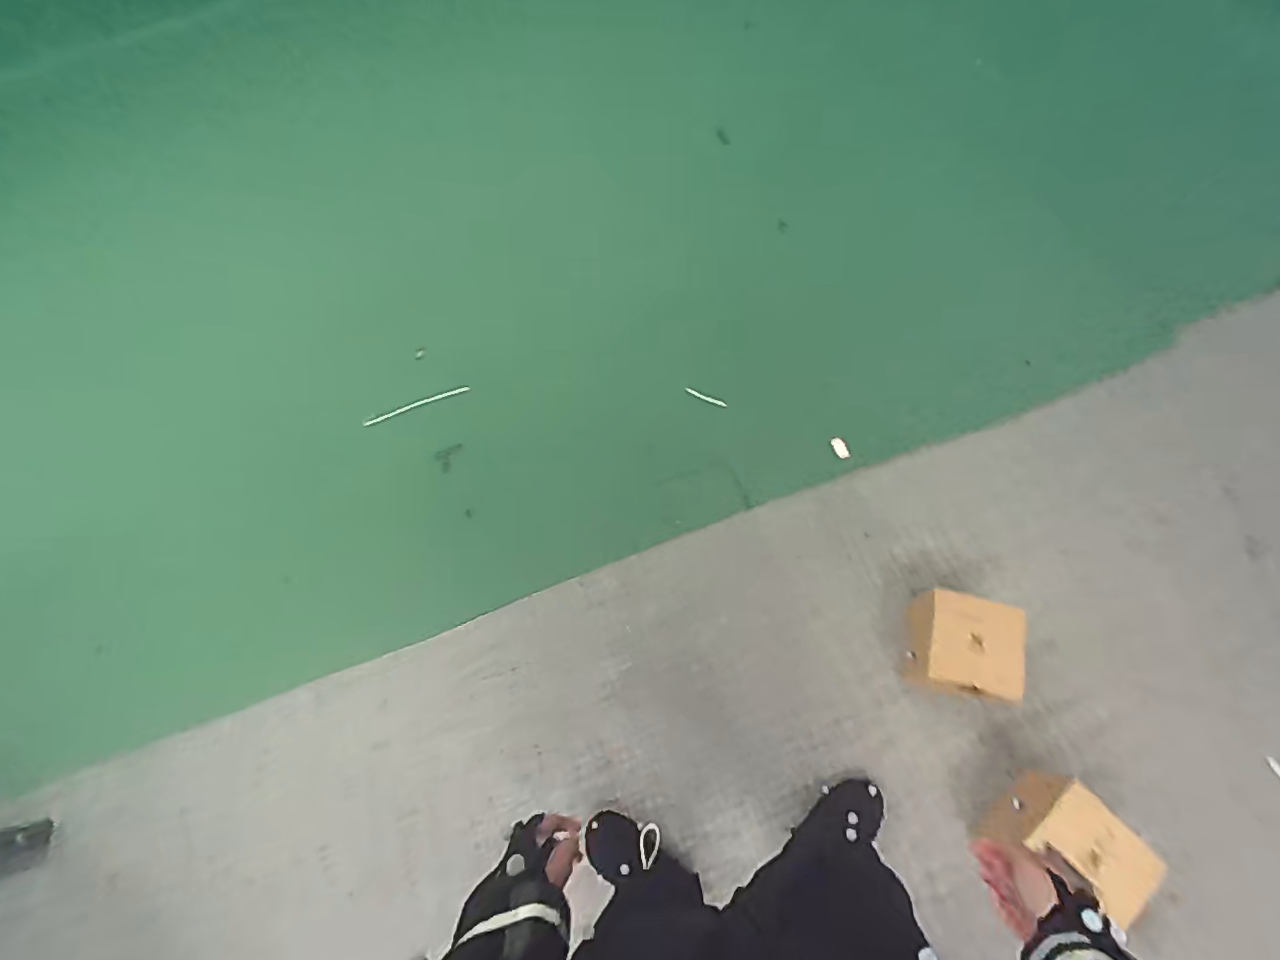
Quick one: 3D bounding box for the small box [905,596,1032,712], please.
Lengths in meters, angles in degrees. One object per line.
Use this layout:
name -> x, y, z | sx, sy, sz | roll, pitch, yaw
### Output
small box -> 0.649, 0.353, 1.085 | 0.168, 0.176, 0.179 | 13, 68, 11
